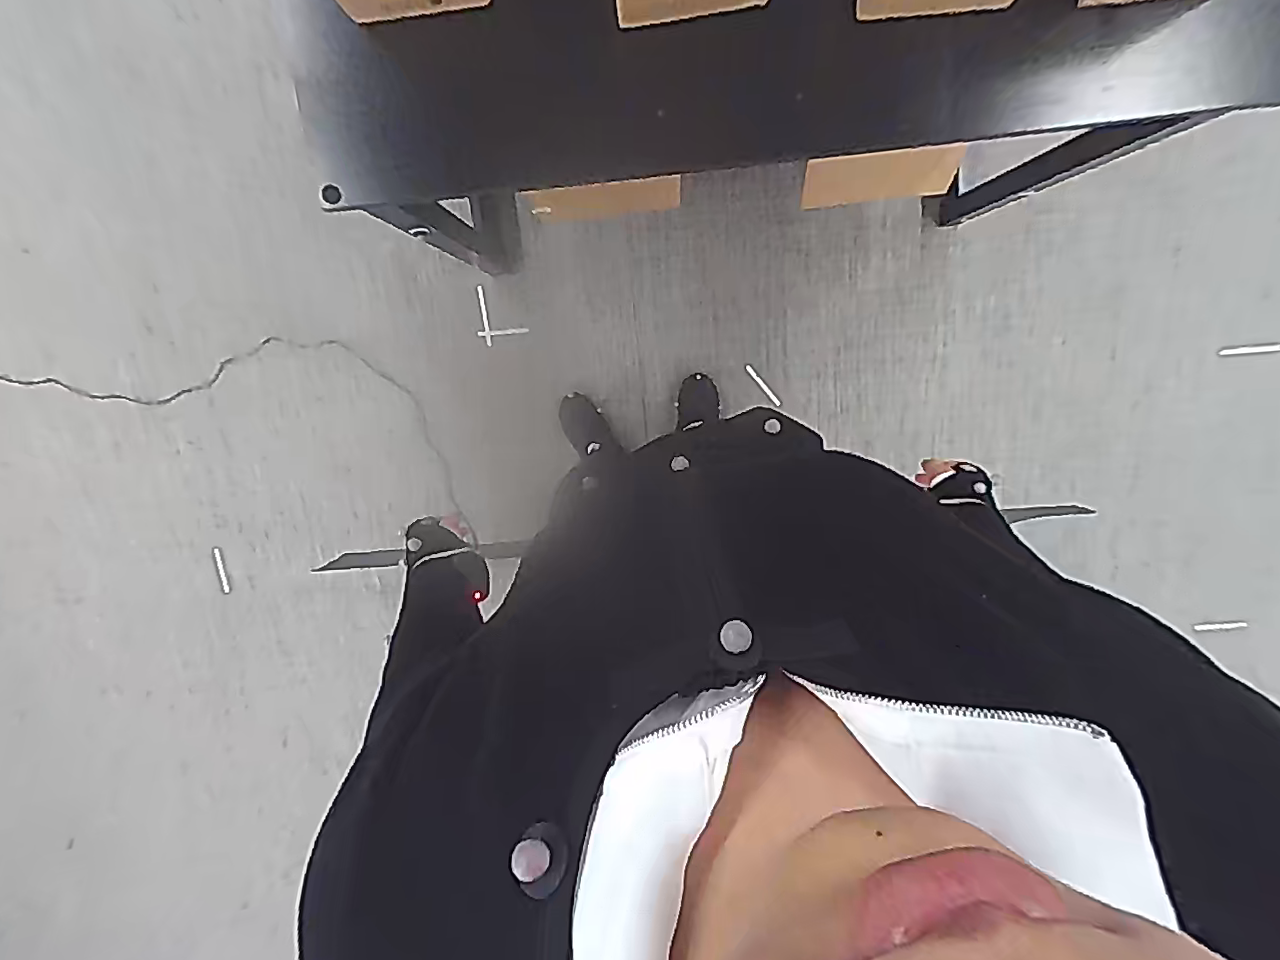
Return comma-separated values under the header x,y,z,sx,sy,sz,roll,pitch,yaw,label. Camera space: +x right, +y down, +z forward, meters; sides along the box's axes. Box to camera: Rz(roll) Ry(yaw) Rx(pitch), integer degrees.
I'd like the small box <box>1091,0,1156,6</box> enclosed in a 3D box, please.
x,y,z,sx,sy,sz,roll,pitch,yaw,label
0.574,-0.616,0.522,0.168,0.176,0.179,-3,102,3,small box

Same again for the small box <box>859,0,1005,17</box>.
x,y,z,sx,sy,sz,roll,pitch,yaw,label
0.330,-0.597,0.529,0.179,0.176,0.168,-3,102,1,small box

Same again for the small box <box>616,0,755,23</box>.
x,y,z,sx,sy,sz,roll,pitch,yaw,label
0.049,-0.597,0.533,0.179,0.176,0.168,-8,104,1,small box

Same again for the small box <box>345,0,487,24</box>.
x,y,z,sx,sy,sz,roll,pitch,yaw,label
-0.261,-0.604,0.530,0.168,0.176,0.179,-7,102,1,small box
